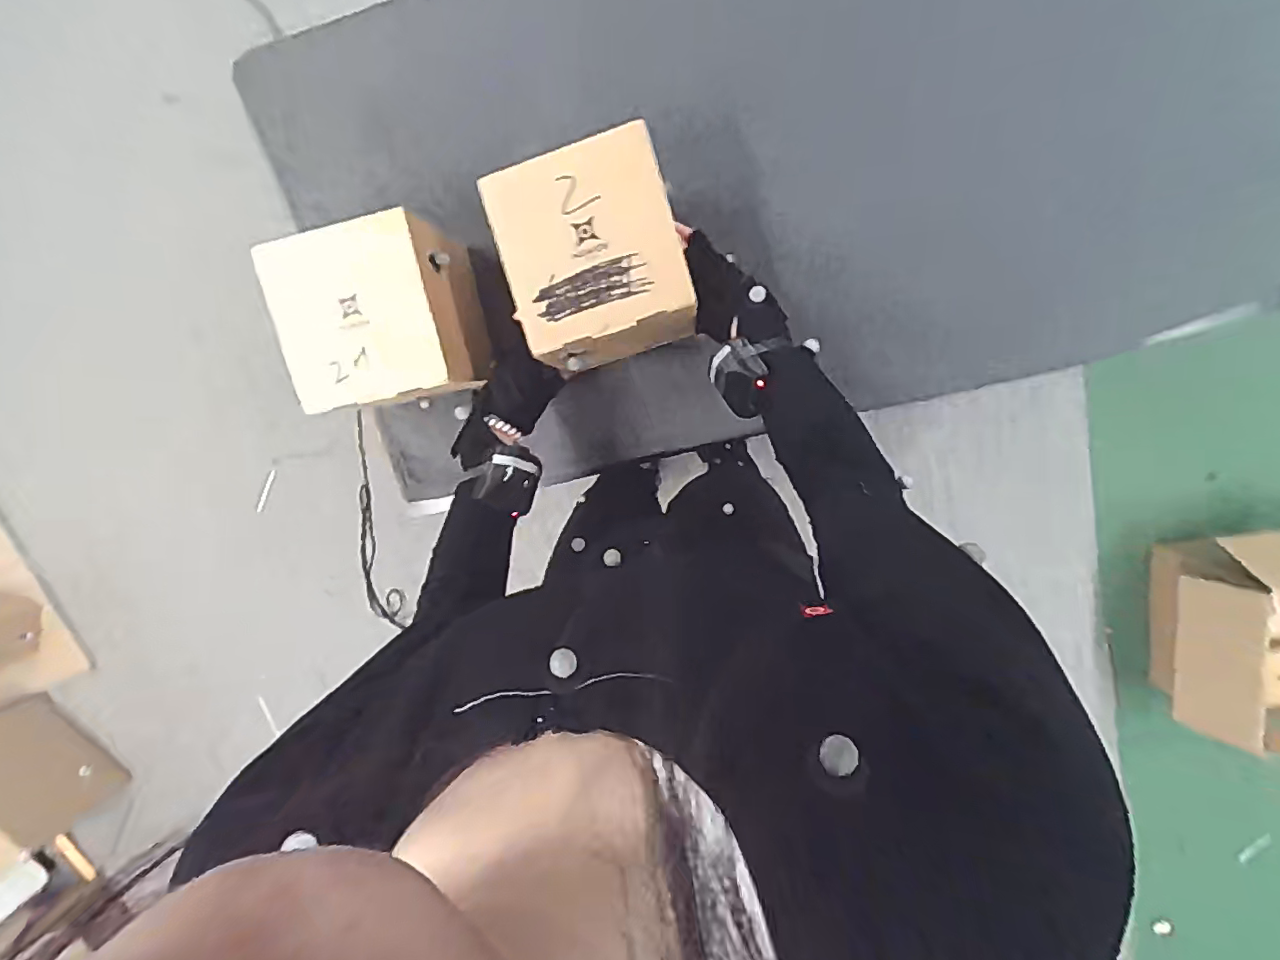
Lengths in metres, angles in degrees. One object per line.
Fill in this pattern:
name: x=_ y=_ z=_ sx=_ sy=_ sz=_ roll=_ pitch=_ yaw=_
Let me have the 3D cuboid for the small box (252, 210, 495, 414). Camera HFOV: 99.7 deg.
small box: x=-0.287 y=-0.180 z=0.625 sx=0.168 sy=0.176 sz=0.179 roll=-11 pitch=100 yaw=6
